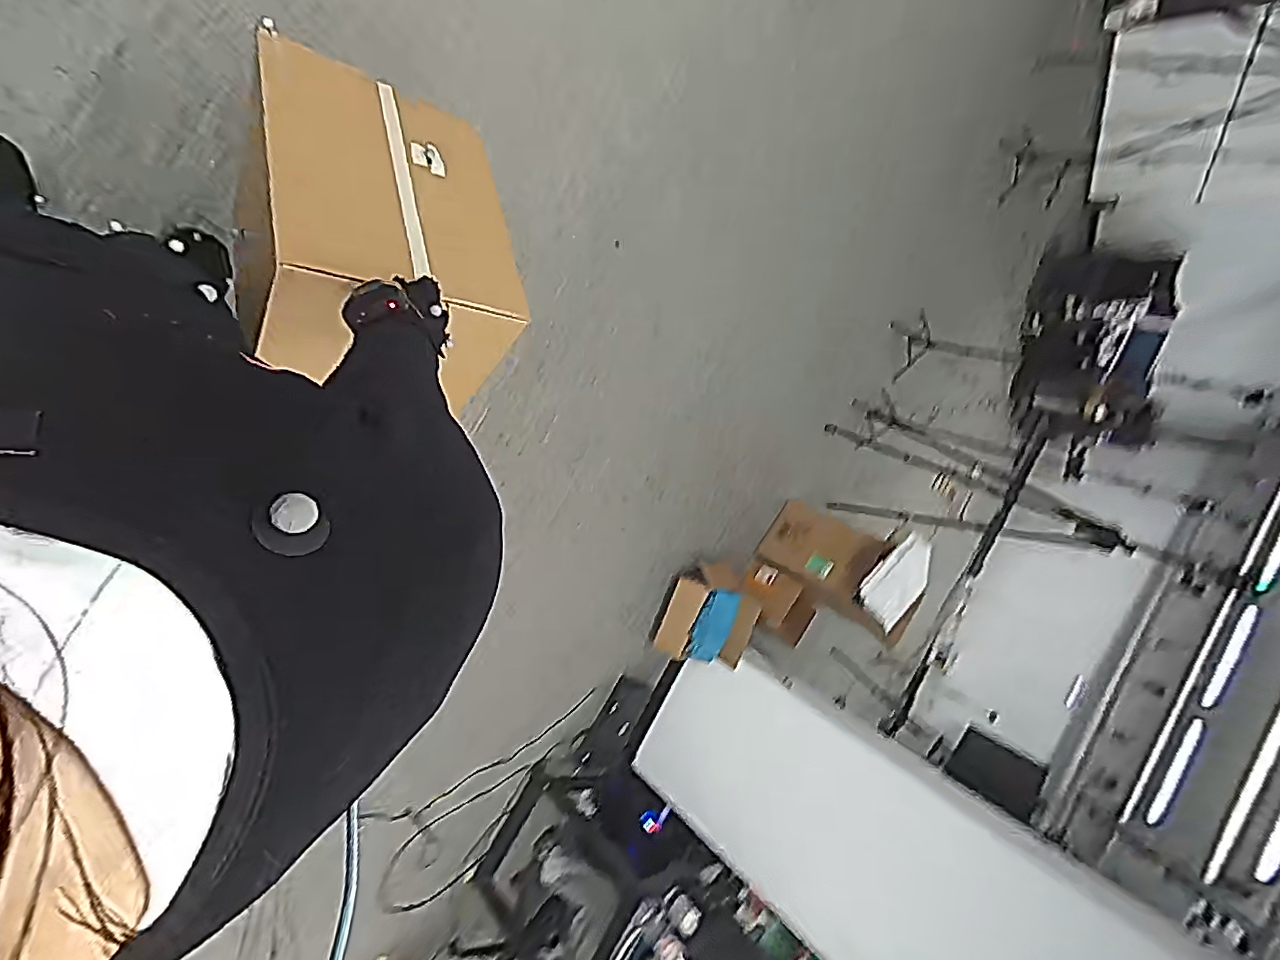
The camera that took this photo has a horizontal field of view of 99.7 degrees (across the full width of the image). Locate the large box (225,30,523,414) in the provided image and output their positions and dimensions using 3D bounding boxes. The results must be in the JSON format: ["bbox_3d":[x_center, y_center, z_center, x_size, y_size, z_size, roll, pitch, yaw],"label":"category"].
[{"bbox_3d":[-0.435,-0.354,0.852,0.320,0.408,0.320,-1,154,-44],"label":"large box"}]
